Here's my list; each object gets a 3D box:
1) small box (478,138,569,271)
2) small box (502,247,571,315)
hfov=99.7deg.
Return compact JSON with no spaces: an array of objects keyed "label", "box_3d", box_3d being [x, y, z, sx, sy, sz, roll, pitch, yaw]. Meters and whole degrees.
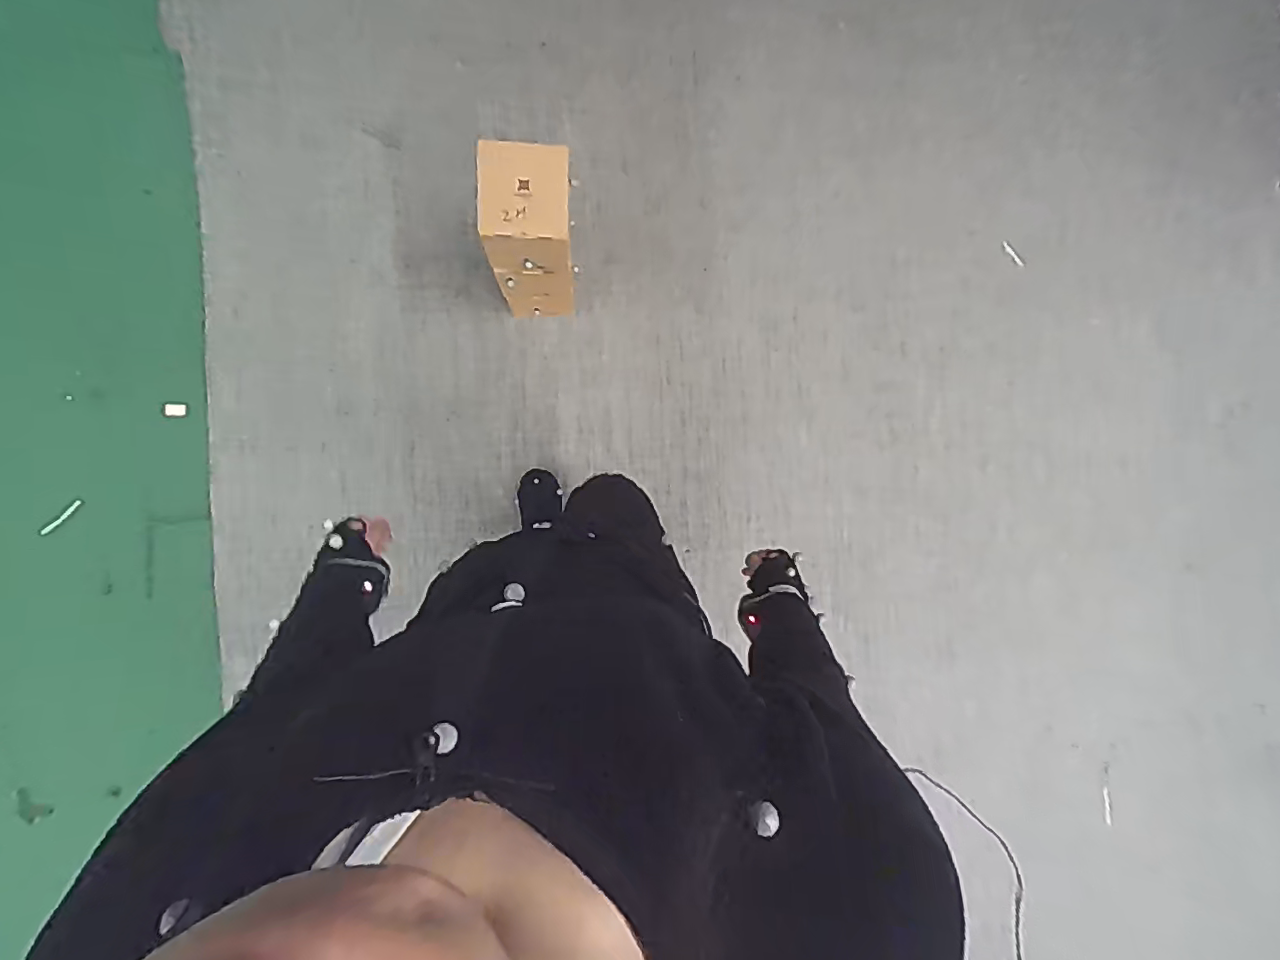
[{"label":"small box","box_3d":[-0.226,-0.538,1.075,0.168,0.176,0.179,0,91,-7]},{"label":"small box","box_3d":[-0.268,-0.540,1.401,0.168,0.176,0.179,-3,91,-8]}]
